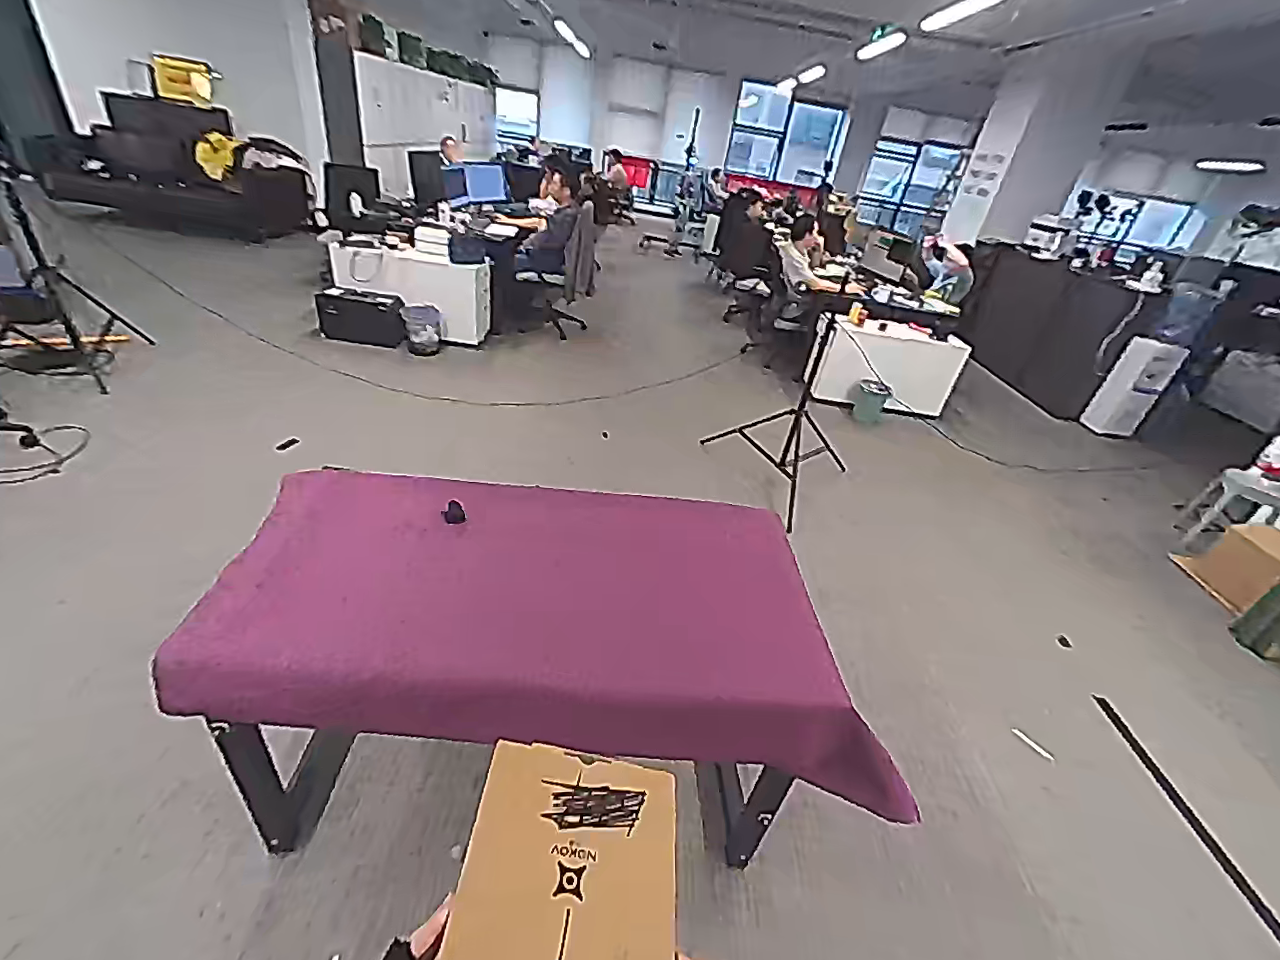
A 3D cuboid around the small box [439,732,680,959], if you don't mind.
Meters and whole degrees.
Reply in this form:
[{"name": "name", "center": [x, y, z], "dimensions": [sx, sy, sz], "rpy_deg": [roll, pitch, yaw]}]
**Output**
[{"name": "small box", "center": [-0.068, 0.356, 0.462], "dimensions": [0.168, 0.176, 0.179], "rpy_deg": [14, 33, -5]}]
